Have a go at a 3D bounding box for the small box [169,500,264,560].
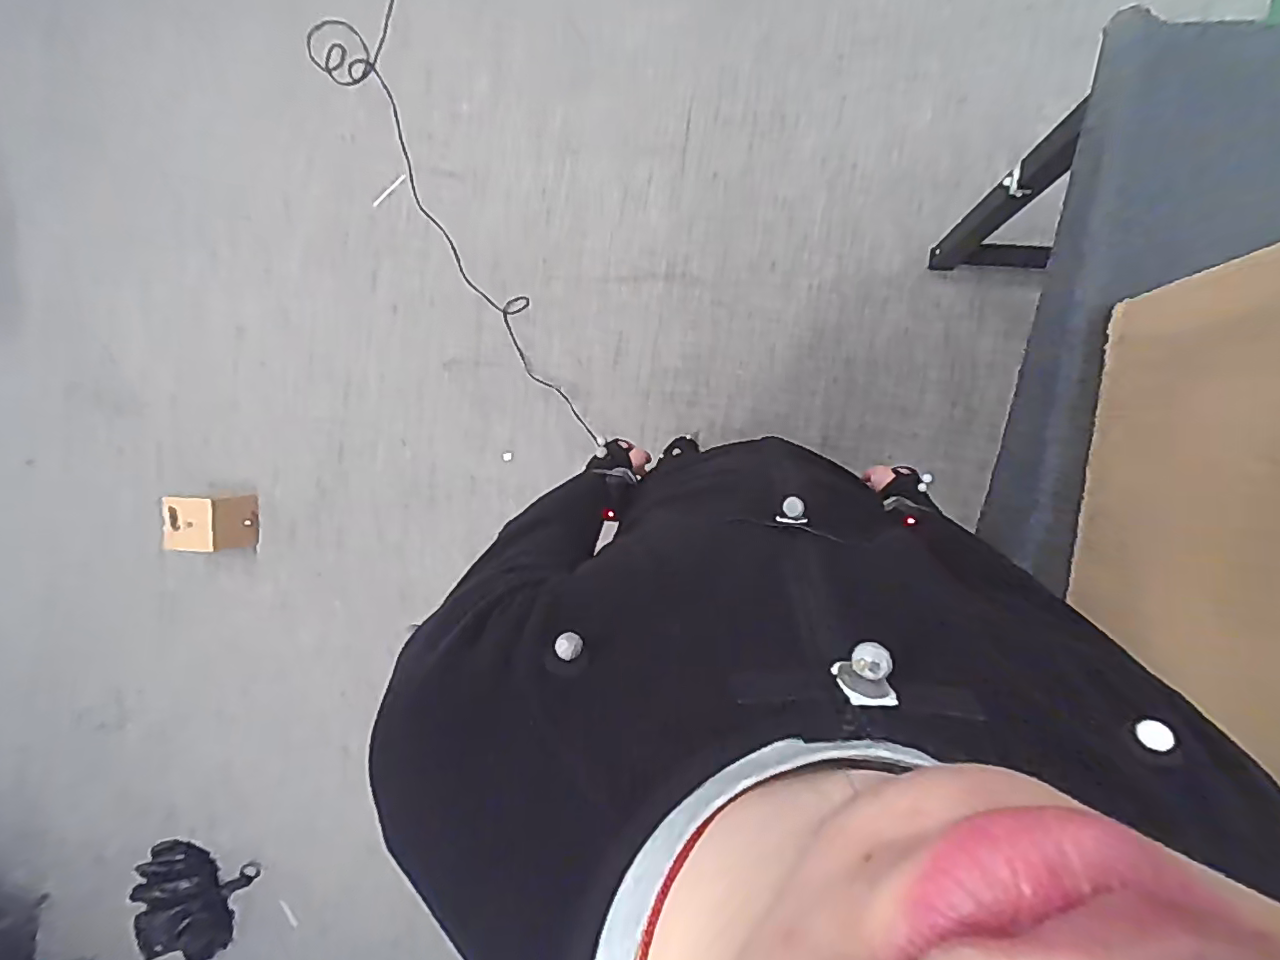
[{"bbox_3d":[-1.346,0.153,1.722,0.179,0.176,0.168,2,94,8],"label":"small box"}]
